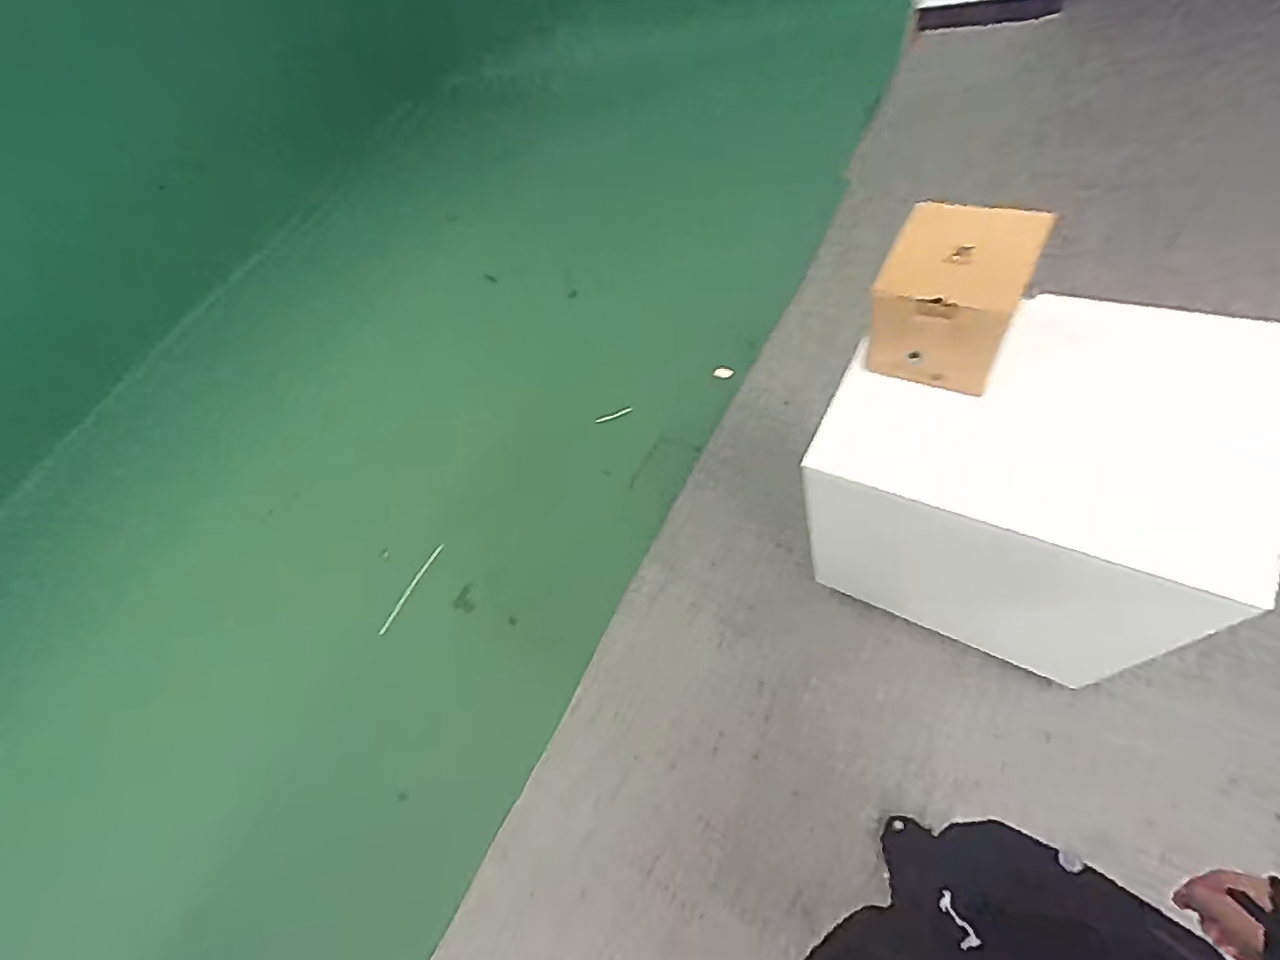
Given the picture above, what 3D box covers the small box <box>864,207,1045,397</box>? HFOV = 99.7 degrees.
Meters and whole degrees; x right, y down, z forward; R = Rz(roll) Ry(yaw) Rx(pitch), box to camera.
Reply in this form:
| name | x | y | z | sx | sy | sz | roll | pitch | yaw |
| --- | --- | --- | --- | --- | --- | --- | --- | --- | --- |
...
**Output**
| name | x | y | z | sx | sy | sz | roll | pitch | yaw |
| --- | --- | --- | --- | --- | --- | --- | --- | --- | --- |
| small box | 0.430 | -0.249 | 0.767 | 0.168 | 0.176 | 0.179 | 22 | 72 | 27 |
